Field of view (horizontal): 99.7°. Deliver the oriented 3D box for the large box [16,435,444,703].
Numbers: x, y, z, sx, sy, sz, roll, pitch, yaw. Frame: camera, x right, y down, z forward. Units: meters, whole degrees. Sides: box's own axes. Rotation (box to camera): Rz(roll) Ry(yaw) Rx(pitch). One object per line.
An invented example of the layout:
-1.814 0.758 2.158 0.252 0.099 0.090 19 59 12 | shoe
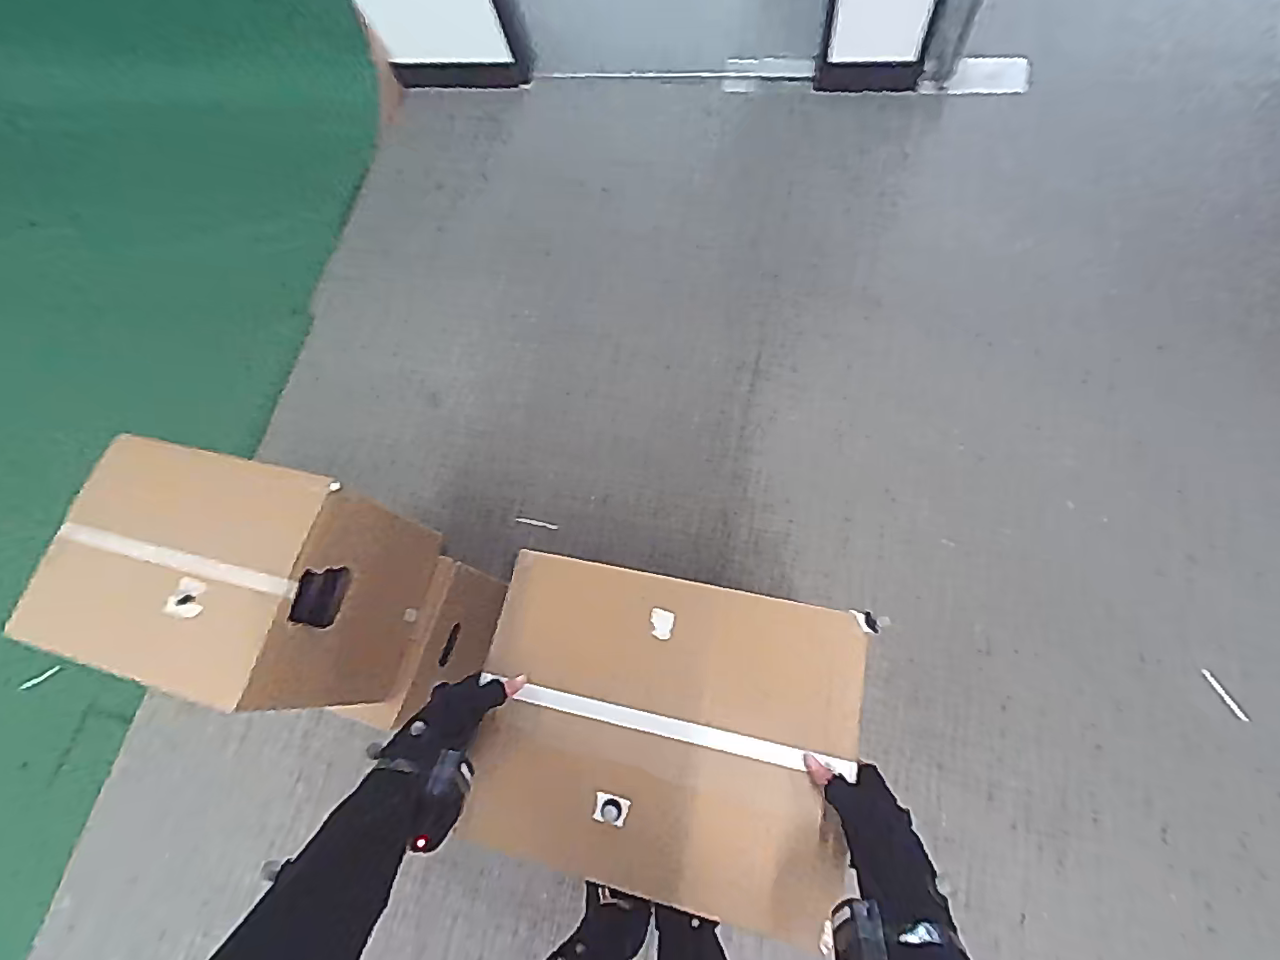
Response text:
-0.617 0.156 0.890 0.408 0.320 0.320 12 71 12 | large box
